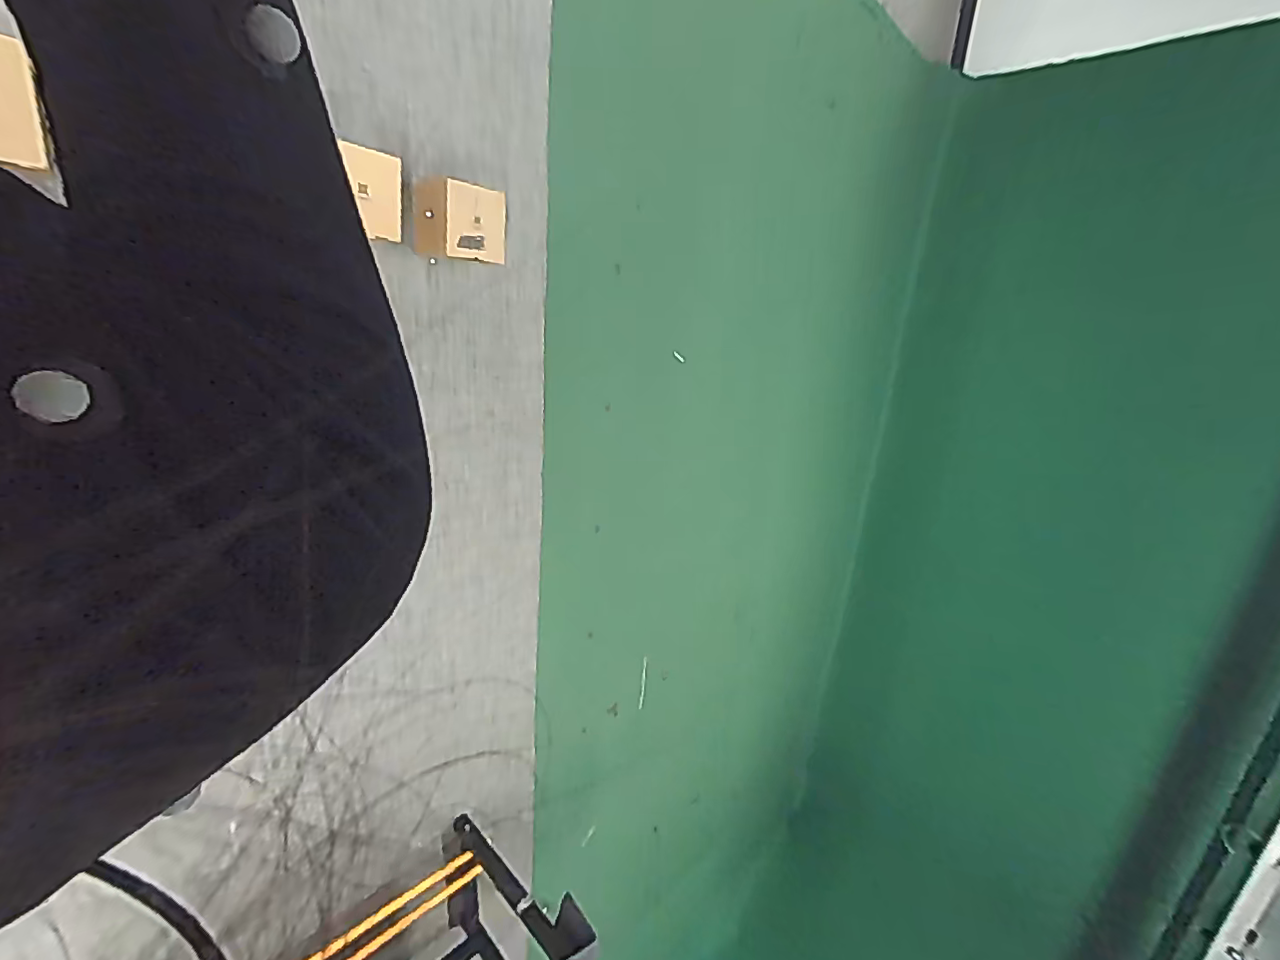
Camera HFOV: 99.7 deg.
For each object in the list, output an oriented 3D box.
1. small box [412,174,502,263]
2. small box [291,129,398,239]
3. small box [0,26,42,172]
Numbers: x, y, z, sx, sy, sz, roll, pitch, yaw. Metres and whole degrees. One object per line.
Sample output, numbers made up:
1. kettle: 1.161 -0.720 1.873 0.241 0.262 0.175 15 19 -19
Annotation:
1. small box: -0.477 -0.670 1.403 0.168 0.176 0.179 -11 113 -46
2. small box: -0.660 -0.647 1.207 0.168 0.176 0.179 -10 113 -46
3. small box: -1.032 -0.586 0.809 0.168 0.176 0.179 -10 113 -45
